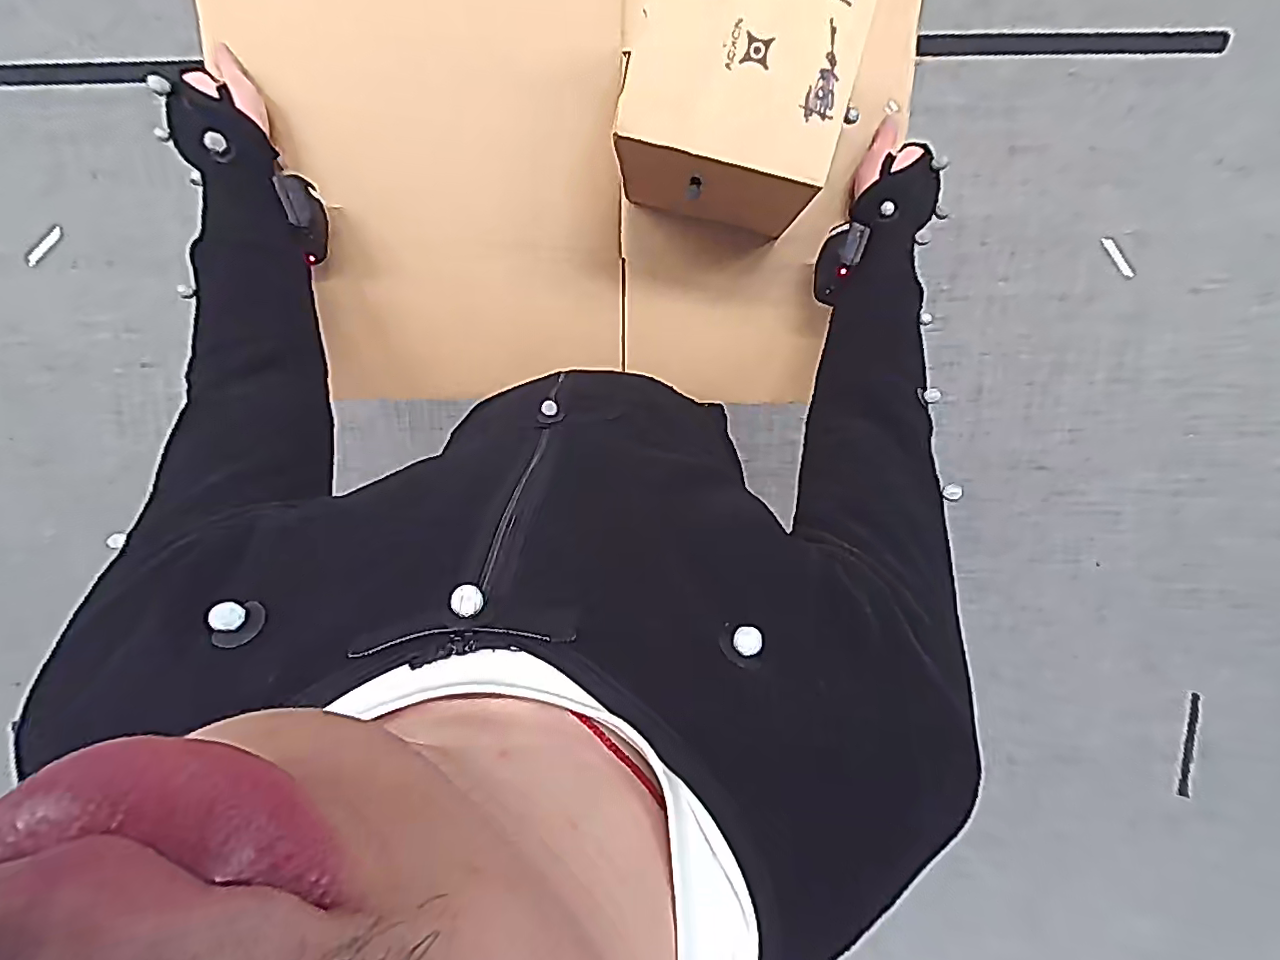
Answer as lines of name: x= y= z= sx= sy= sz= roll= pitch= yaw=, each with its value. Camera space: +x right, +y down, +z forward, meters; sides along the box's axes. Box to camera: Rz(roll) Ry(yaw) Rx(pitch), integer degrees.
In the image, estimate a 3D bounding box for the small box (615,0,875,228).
small box: x=0.087 y=-0.352 z=0.496 sx=0.179 sy=0.176 sz=0.168 roll=15 pitch=101 yaw=0
